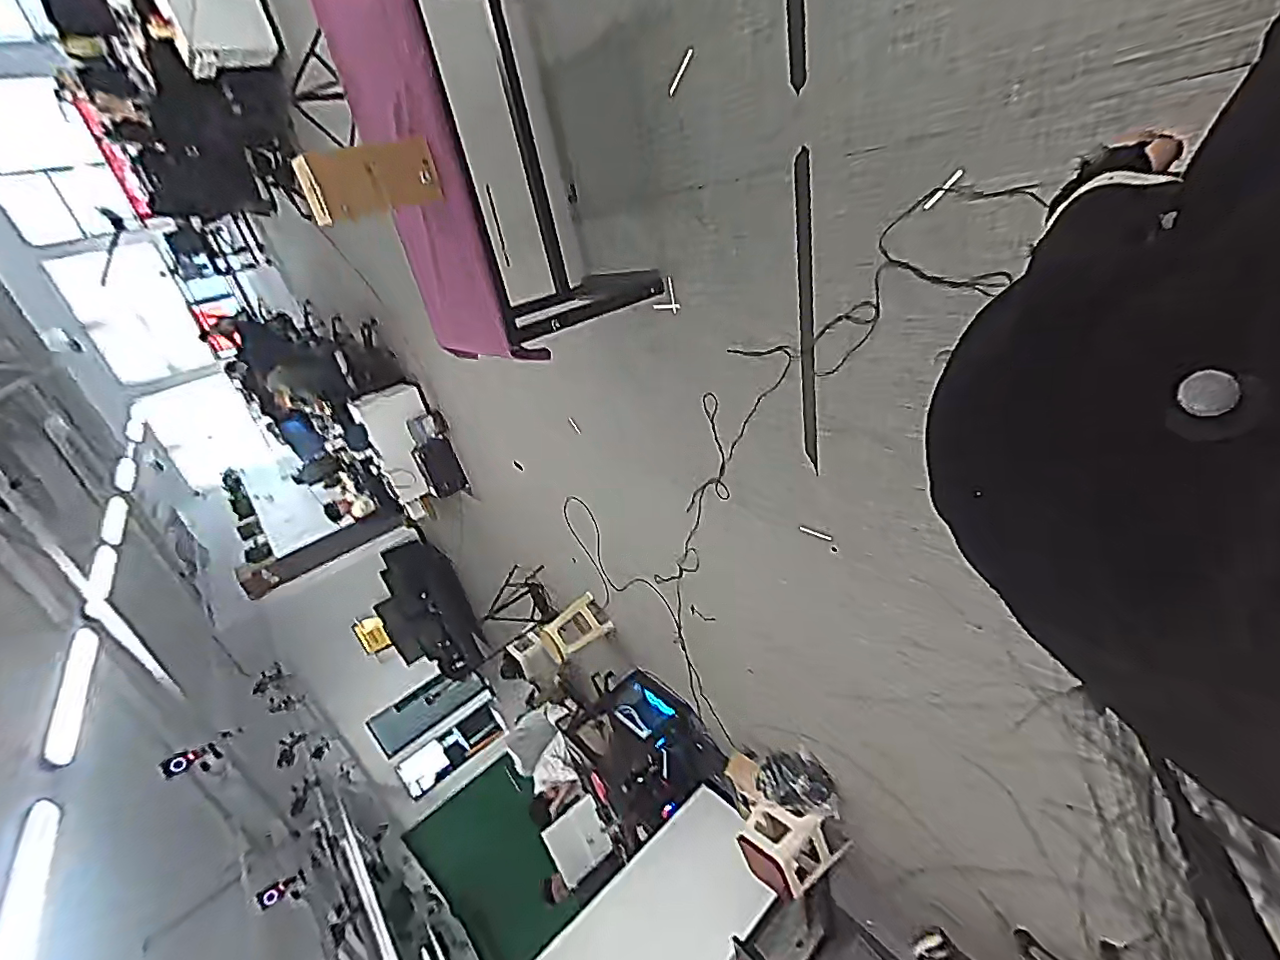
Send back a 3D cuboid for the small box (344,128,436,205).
[{"bbox_3d":[-0.722,-0.907,1.570,0.179,0.176,0.168,23,135,44],"label":"small box"}]
